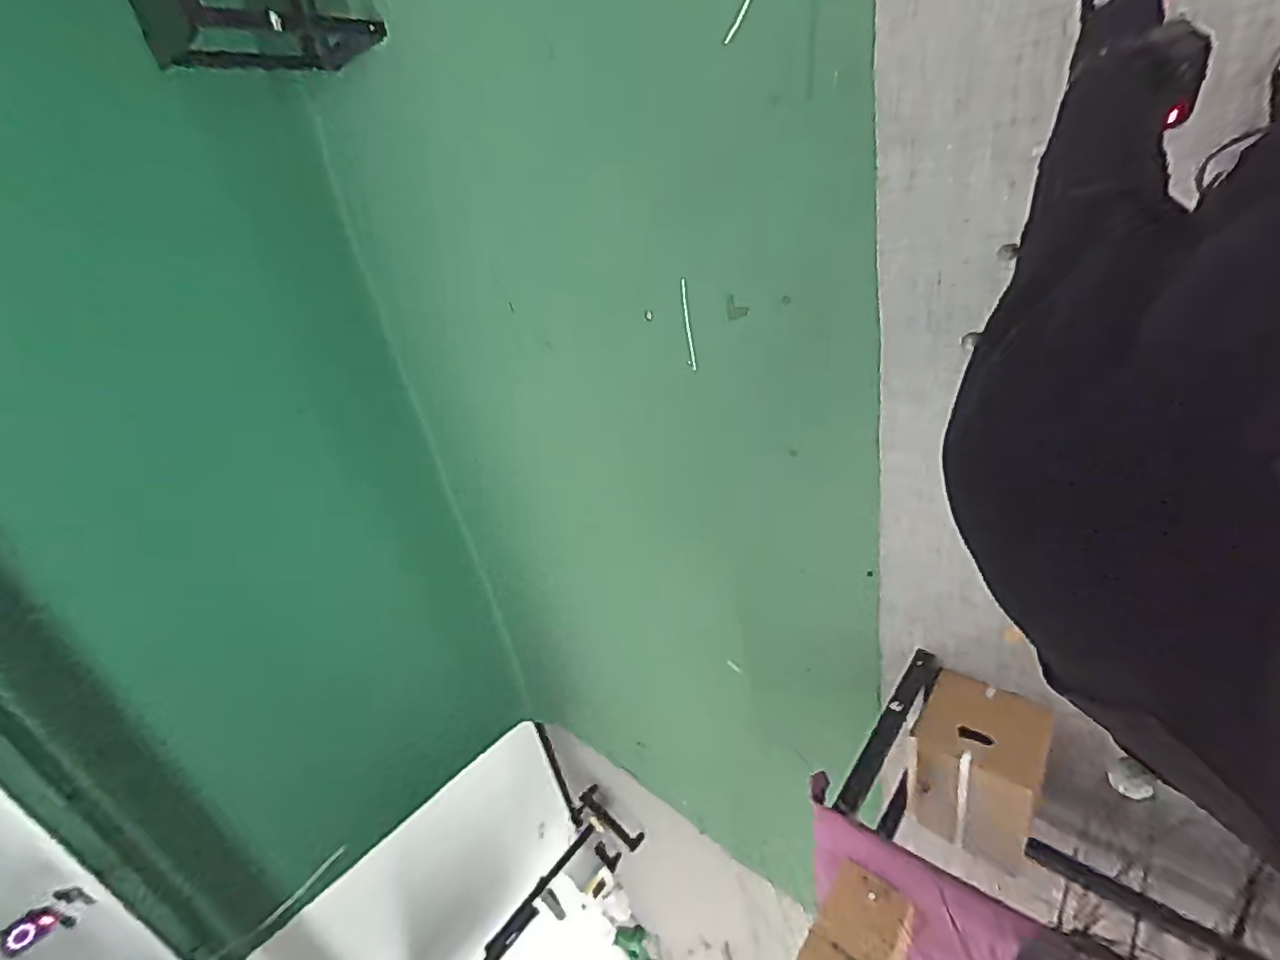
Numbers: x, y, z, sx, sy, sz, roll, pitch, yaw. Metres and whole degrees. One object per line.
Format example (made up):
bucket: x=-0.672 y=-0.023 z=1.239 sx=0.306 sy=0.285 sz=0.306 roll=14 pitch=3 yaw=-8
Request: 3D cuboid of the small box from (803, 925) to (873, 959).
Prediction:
small box: x=0.441 y=1.137 z=1.174 sx=0.168 sy=0.176 sz=0.179 roll=10 pitch=123 yaw=42

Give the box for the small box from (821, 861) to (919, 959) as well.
small box: x=0.544 y=1.064 z=1.276 sx=0.168 sy=0.176 sz=0.179 roll=13 pitch=125 yaw=41
